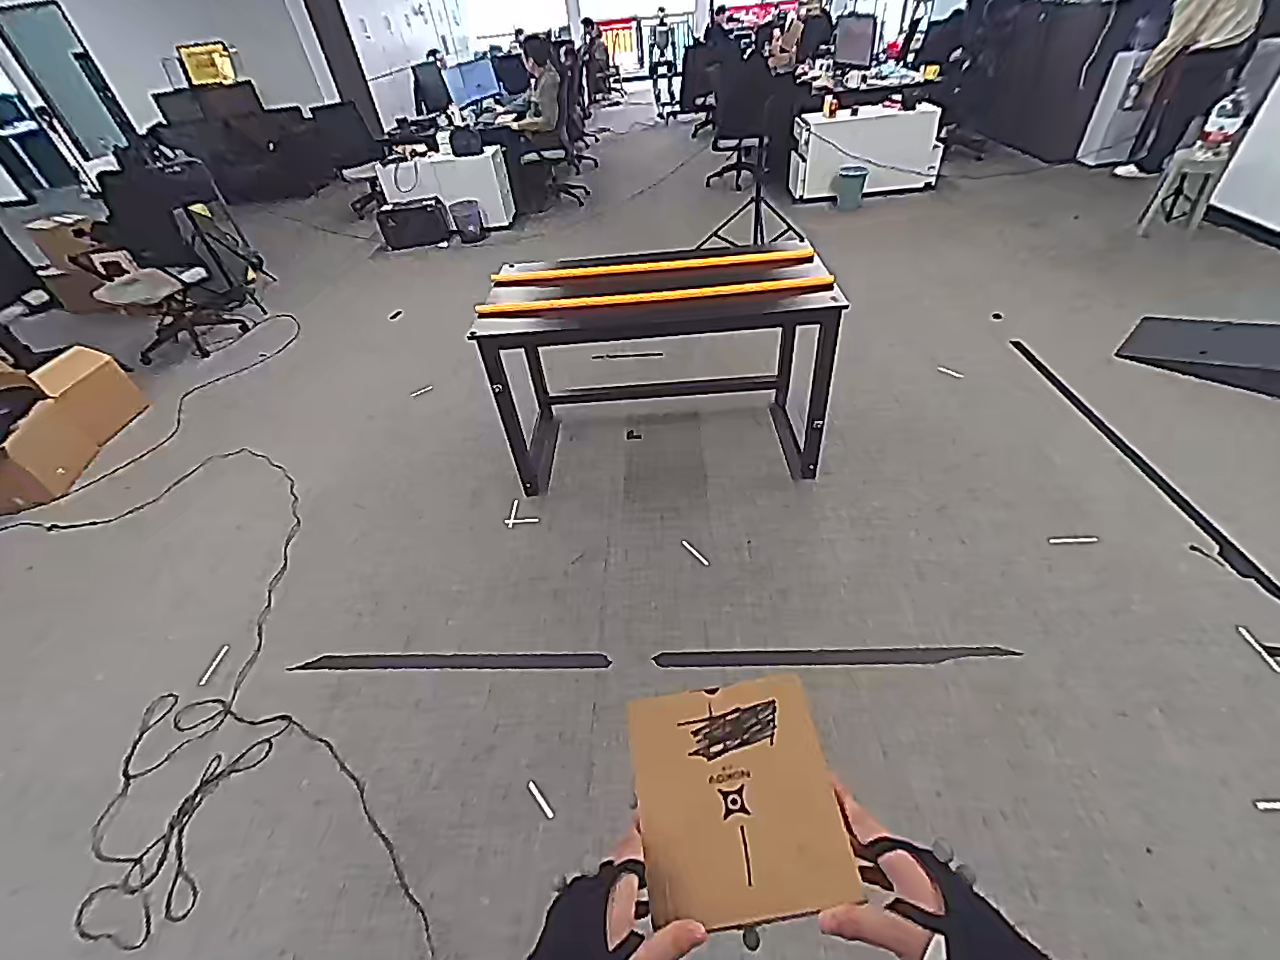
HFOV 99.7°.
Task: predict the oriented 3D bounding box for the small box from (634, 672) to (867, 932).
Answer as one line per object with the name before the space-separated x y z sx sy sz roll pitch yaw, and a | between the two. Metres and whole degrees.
small box | 0.092 0.314 0.524 0.168 0.176 0.179 -11 49 1
